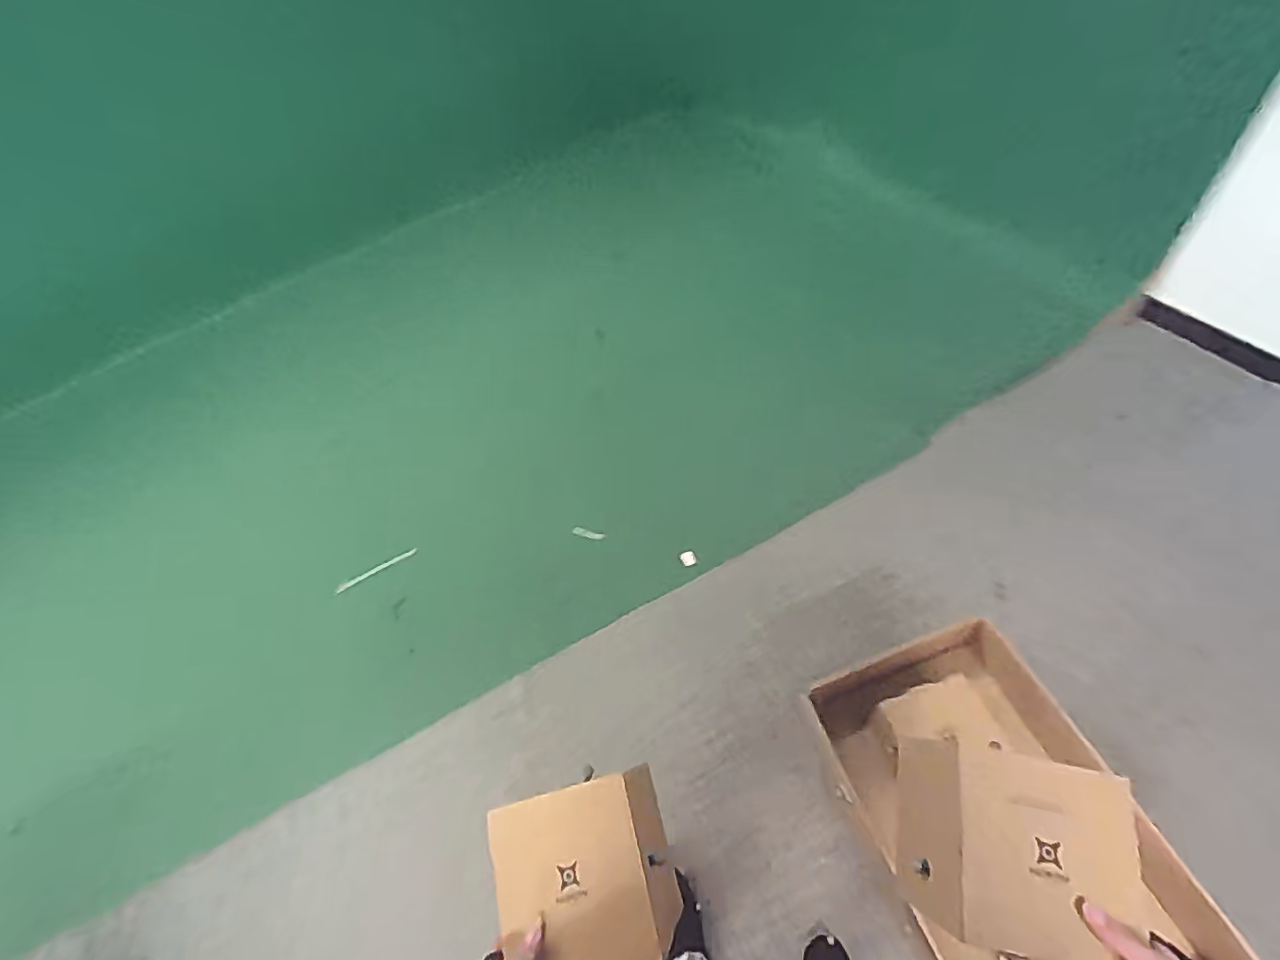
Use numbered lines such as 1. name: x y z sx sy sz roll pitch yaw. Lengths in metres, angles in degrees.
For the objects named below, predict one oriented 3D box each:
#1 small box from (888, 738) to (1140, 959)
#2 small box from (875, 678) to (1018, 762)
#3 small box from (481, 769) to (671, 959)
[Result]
1. small box: 0.386 0.394 0.591 0.168 0.176 0.179 10 66 7
2. small box: 0.554 0.494 0.988 0.168 0.176 0.179 -20 52 1
3. small box: -0.070 0.459 0.644 0.168 0.176 0.179 -18 65 2
